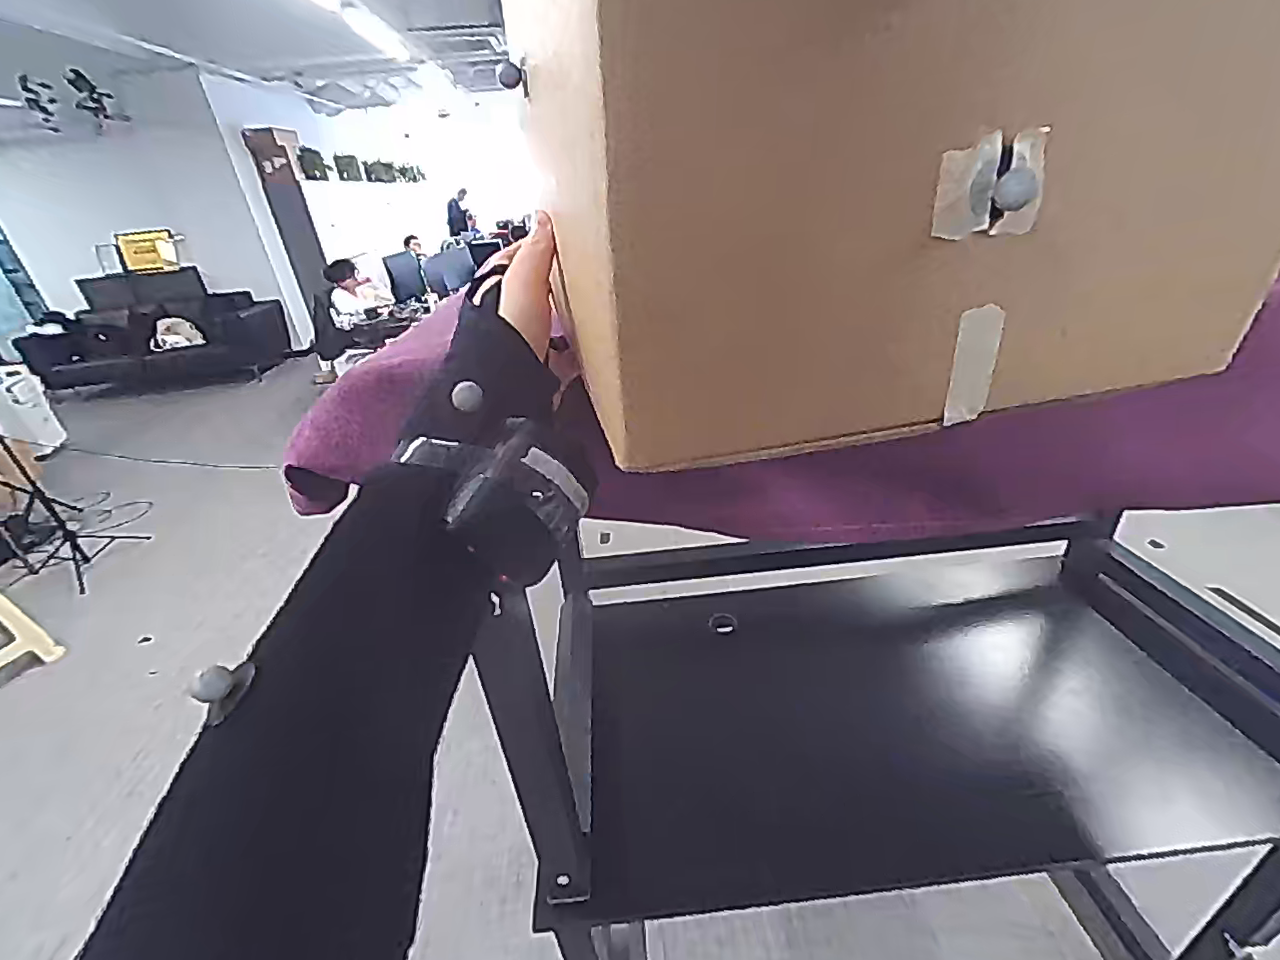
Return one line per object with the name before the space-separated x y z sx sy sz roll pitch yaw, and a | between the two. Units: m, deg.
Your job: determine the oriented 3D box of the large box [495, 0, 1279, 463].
large box | 0.086 -0.252 0.322 0.320 0.320 0.408 -9 32 -11
